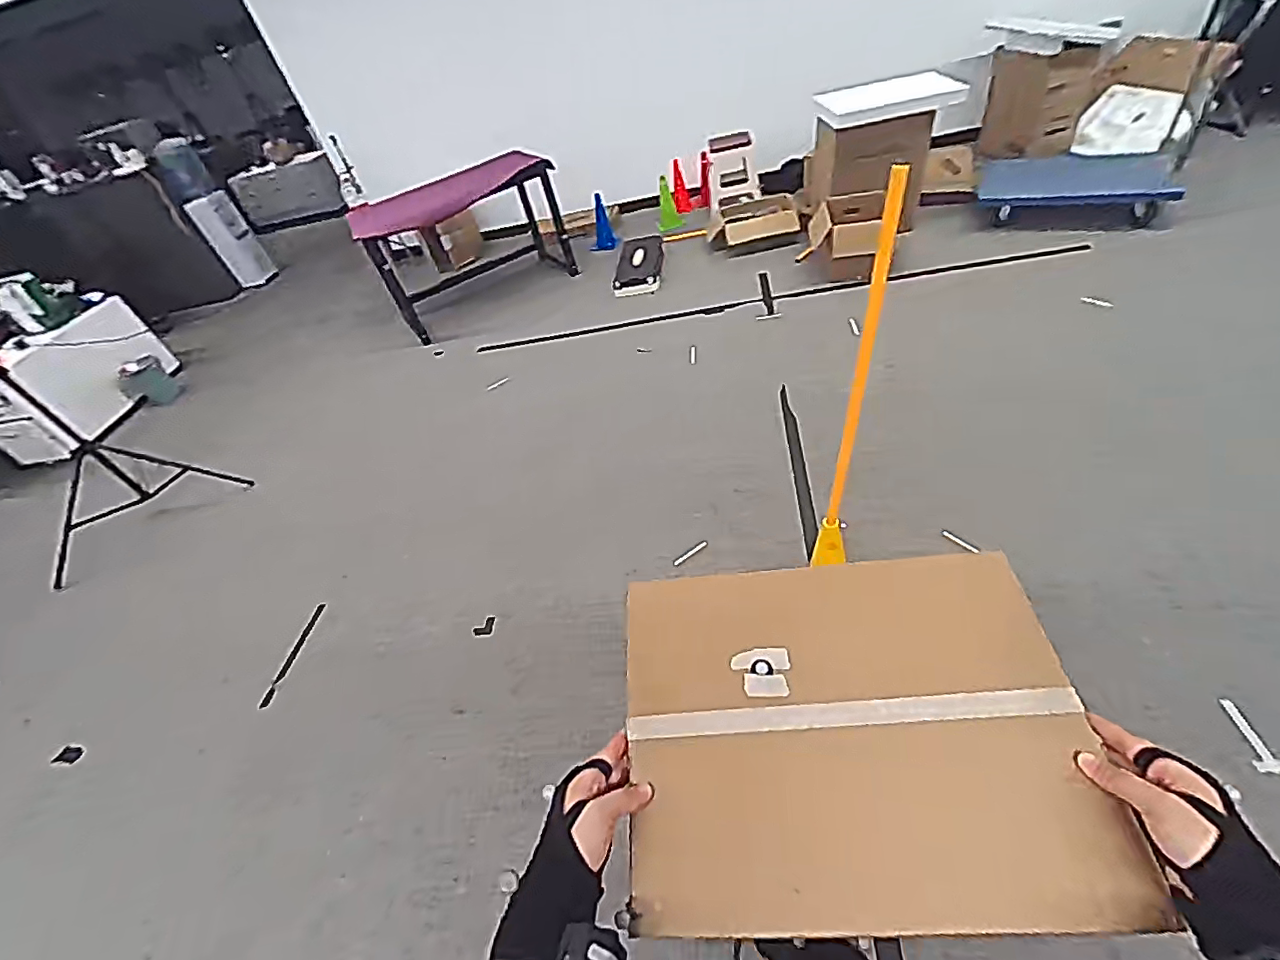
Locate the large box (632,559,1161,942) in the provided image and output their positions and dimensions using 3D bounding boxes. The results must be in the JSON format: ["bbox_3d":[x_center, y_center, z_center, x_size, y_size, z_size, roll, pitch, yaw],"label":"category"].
[{"bbox_3d":[0.219,0.321,0.630,0.408,0.320,0.320,-7,50,8],"label":"large box"}]
